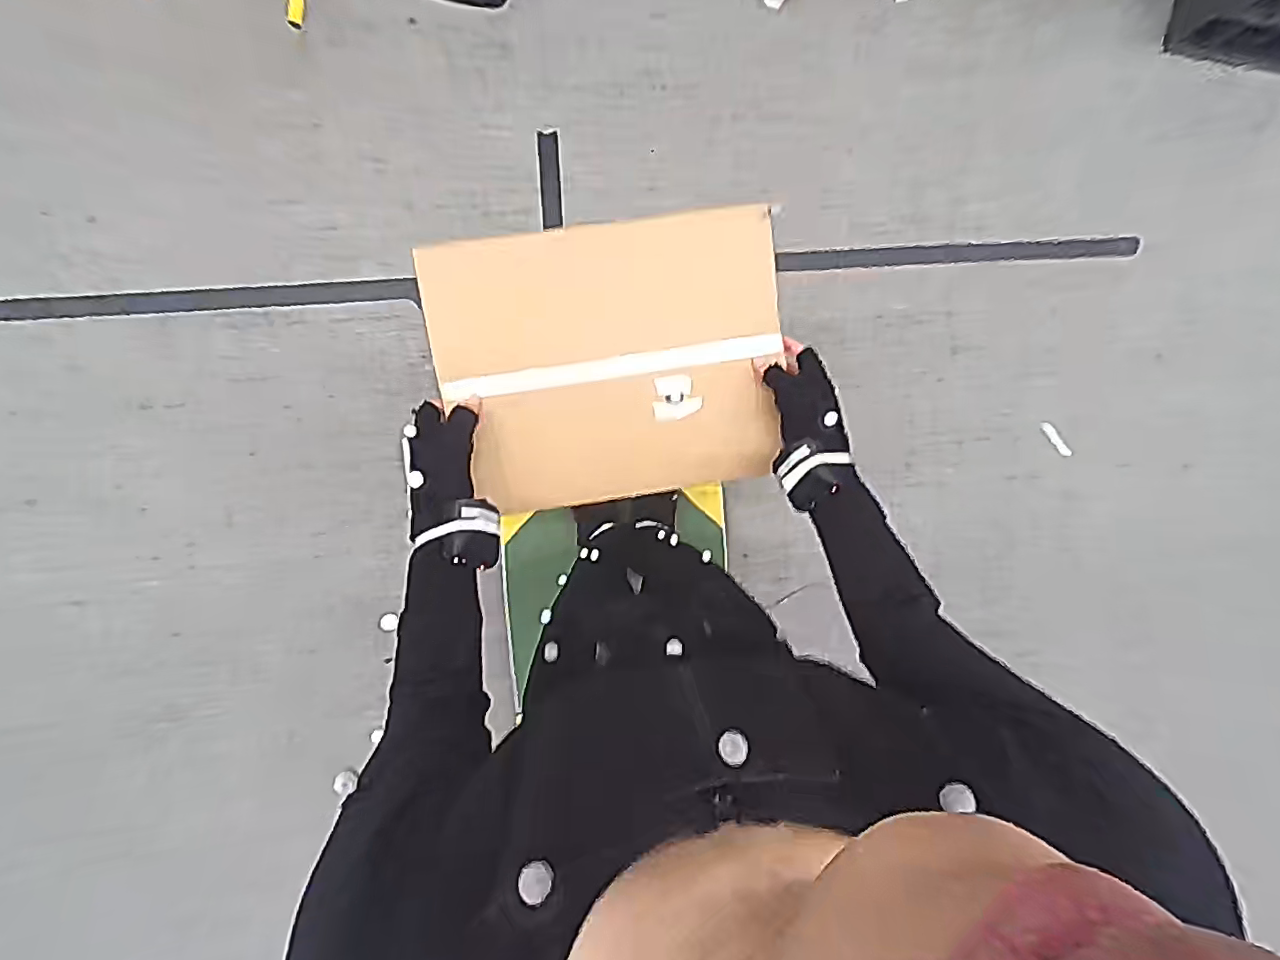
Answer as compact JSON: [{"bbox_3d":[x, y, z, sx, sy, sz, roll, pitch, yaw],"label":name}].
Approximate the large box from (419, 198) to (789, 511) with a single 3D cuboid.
[{"bbox_3d":[-0.045,-0.168,0.786,0.408,0.320,0.320,-10,101,-4],"label":"large box"}]
